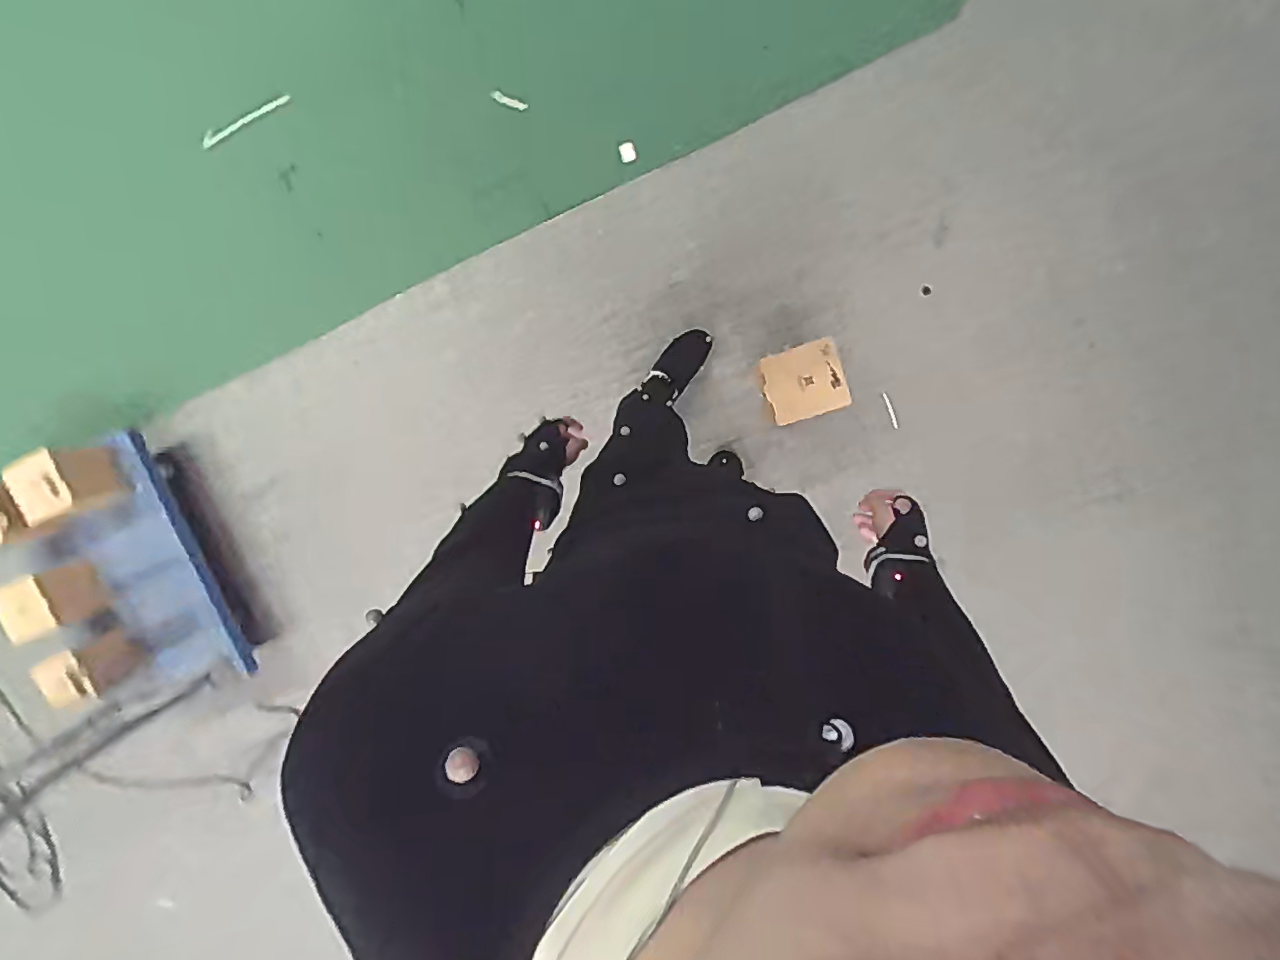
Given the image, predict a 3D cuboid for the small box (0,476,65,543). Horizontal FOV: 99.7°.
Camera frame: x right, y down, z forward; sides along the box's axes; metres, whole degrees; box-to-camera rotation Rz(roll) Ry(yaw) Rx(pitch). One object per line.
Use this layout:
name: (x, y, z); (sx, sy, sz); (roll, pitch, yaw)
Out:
small box: (-1.904, 0.092, 1.613); (0.179, 0.176, 0.168); (-21, 97, 9)

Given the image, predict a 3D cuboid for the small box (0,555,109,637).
small box: (-1.795, 0.348, 1.644); (0.179, 0.176, 0.168); (-21, 96, 8)

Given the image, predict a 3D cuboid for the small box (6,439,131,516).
small box: (-1.660, -0.013, 1.587); (0.179, 0.176, 0.168); (-21, 95, 10)

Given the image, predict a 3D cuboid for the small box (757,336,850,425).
small box: (0.390, -0.238, 1.324); (0.179, 0.176, 0.168); (-16, 96, 10)
